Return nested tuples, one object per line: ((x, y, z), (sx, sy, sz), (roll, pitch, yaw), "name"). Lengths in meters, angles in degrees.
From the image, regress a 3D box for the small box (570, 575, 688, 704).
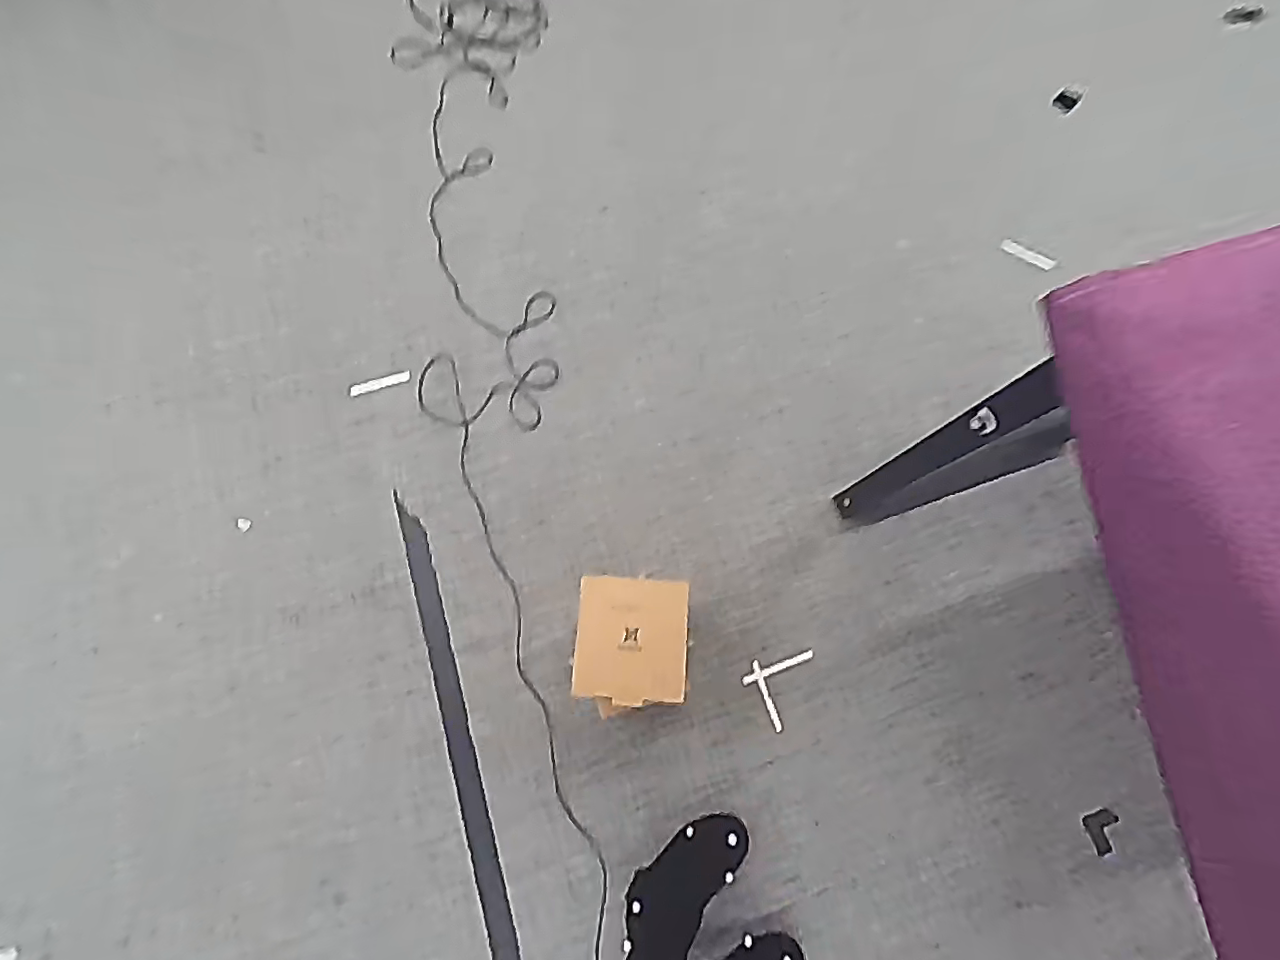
((-0.015, 0.252, 0.870), (0.168, 0.176, 0.179), (3, 74, -1), "small box")

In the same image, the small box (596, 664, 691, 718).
((-0.014, 0.325, 1.018), (0.168, 0.176, 0.179), (-16, 76, -5), "small box")
